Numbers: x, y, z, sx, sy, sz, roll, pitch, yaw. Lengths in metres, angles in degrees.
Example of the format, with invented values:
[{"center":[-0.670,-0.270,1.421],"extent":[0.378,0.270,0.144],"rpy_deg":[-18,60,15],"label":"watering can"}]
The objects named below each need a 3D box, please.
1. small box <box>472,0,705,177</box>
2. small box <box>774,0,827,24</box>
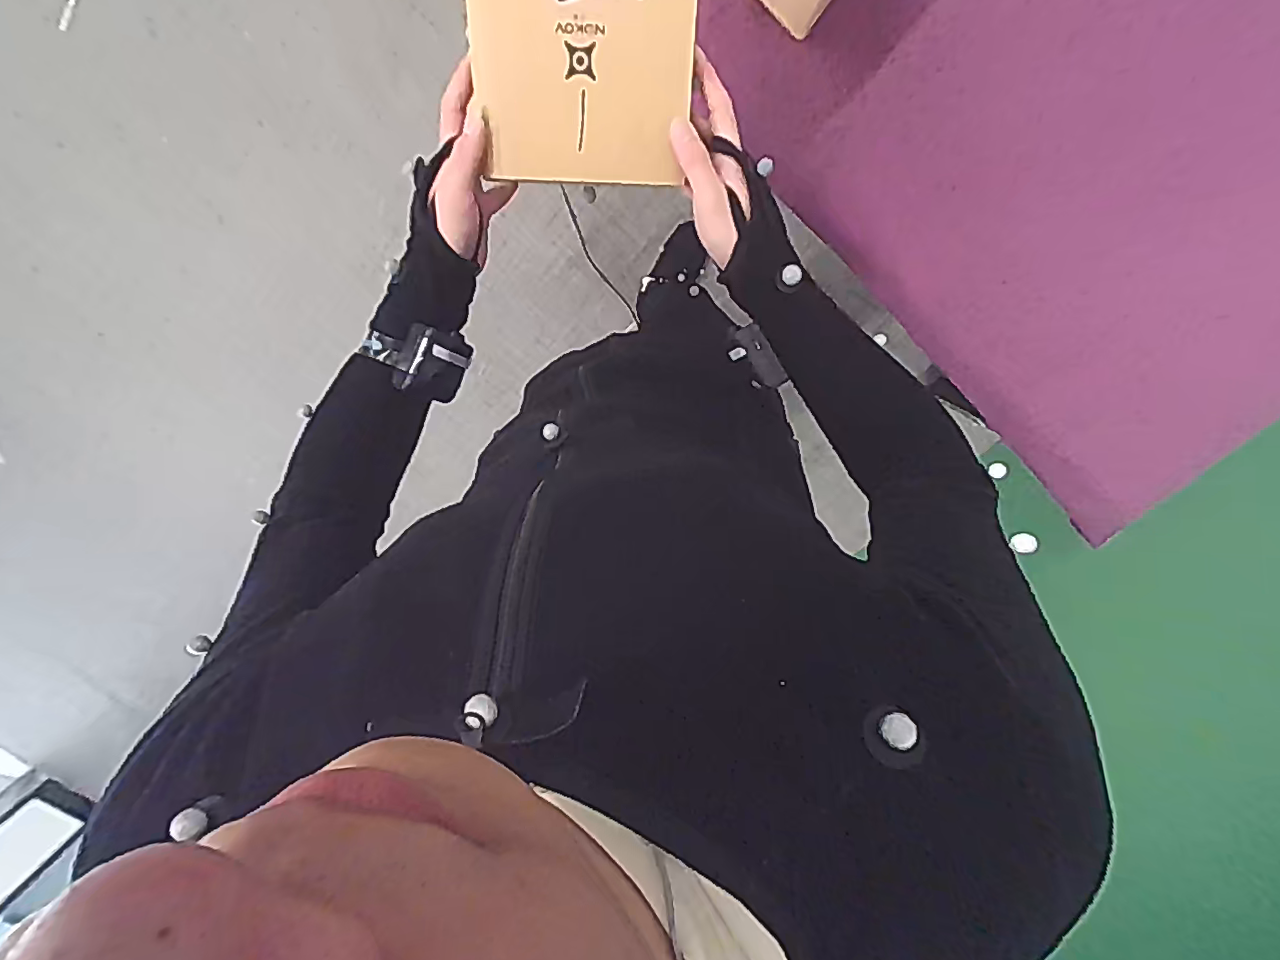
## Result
[{"center":[-0.037,-0.359,0.454],"extent":[0.168,0.176,0.179],"rpy_deg":[2,120,0],"label":"small box"},{"center":[0.181,-0.619,0.539],"extent":[0.168,0.176,0.179],"rpy_deg":[38,110,-11],"label":"small box"}]
